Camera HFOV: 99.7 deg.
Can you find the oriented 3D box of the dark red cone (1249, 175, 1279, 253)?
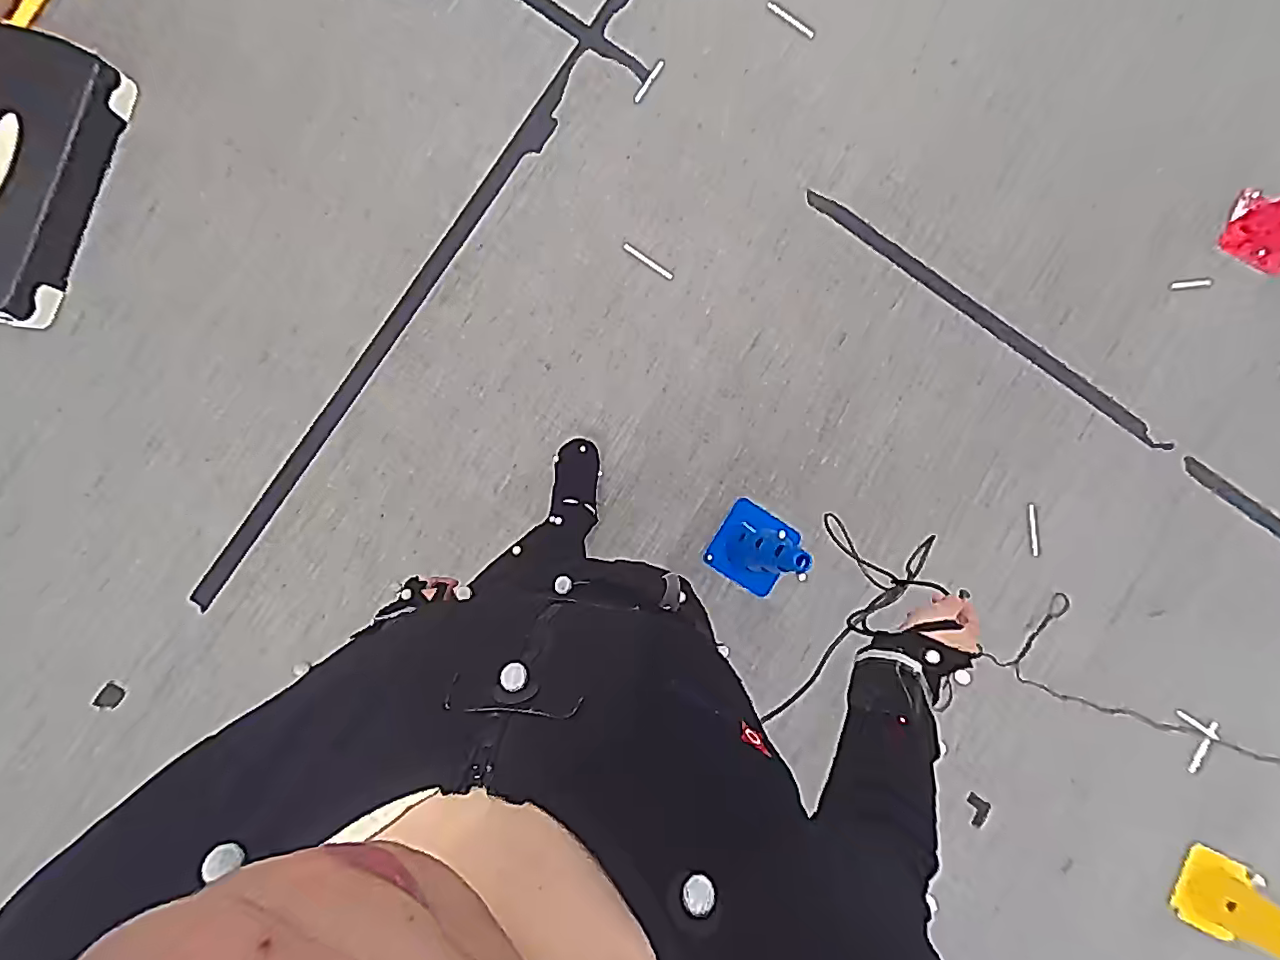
[{"bbox_3d":[1.809,-0.725,1.335,0.202,0.394,0.201,26,87,-2],"label":"dark red cone"}]

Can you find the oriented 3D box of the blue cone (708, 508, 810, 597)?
[{"bbox_3d":[0.302,0.179,1.219,0.193,0.380,0.192,34,87,-2],"label":"blue cone"}]
